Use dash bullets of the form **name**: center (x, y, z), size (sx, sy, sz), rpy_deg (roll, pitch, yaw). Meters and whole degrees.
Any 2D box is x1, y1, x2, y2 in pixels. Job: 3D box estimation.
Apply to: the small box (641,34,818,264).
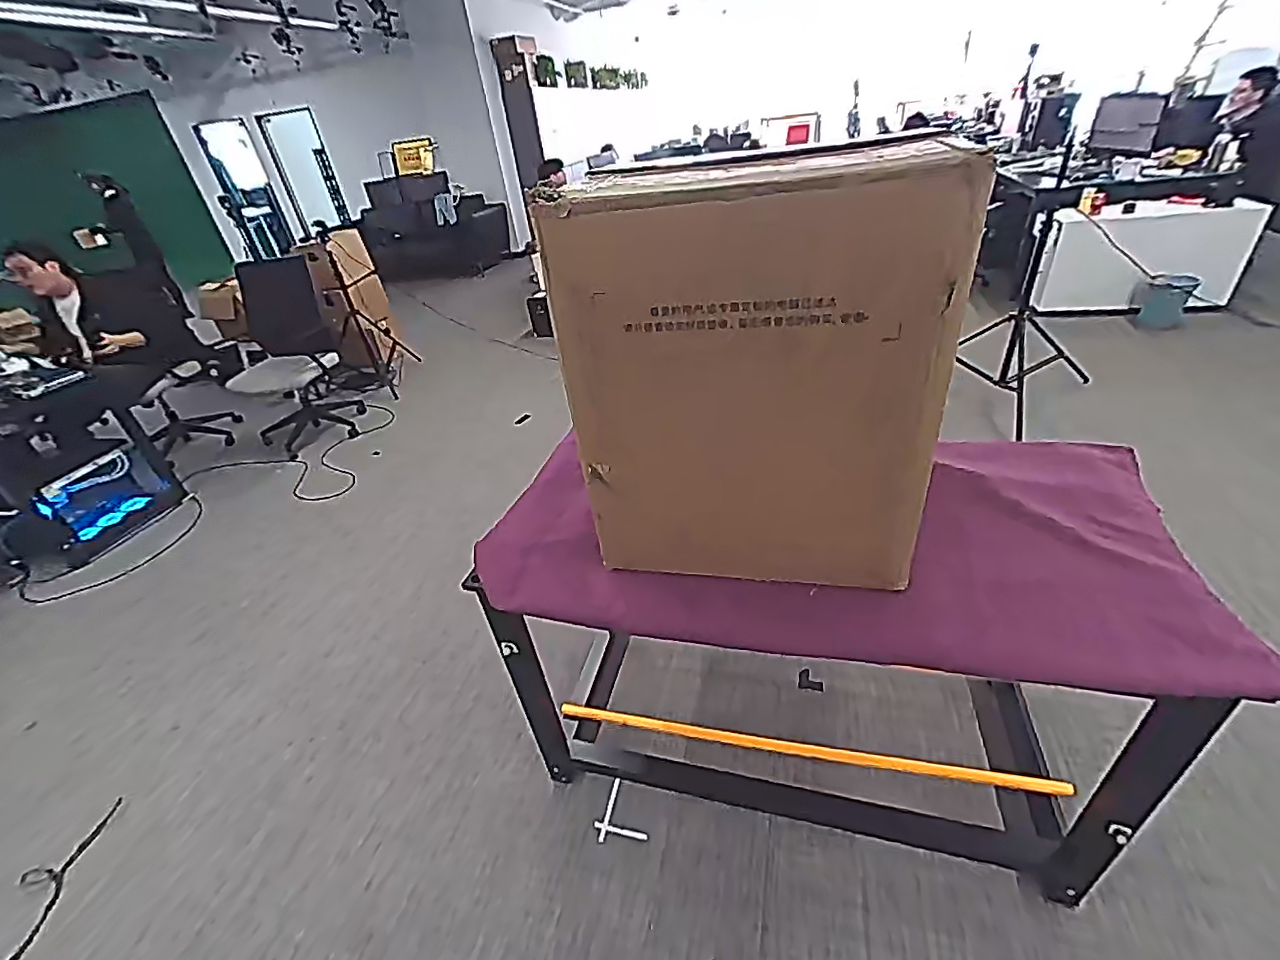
- **small box**: center (0.121, -0.441, 0.732), size (0.168, 0.176, 0.179), rpy_deg (-47, 72, 10)
